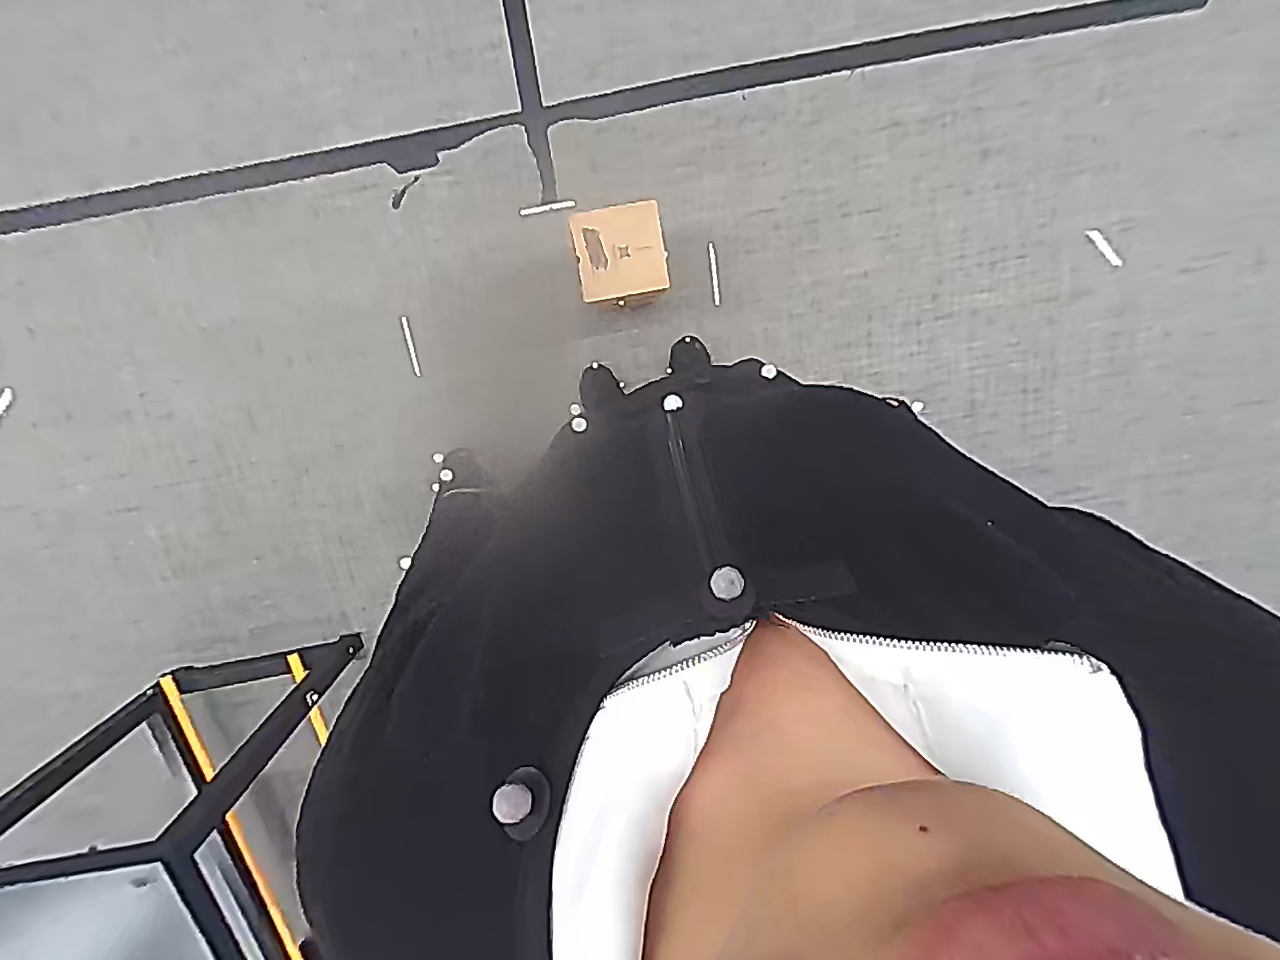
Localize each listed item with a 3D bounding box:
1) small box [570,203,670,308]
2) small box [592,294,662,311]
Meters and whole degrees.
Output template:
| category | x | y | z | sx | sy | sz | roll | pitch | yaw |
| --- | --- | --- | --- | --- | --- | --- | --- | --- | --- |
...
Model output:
| category | x | y | z | sx | sy | sz | roll | pitch | yaw |
| --- | --- | --- | --- | --- | --- | --- | --- | --- | --- |
| small box | -0.039 | -0.461 | 1.132 | 0.179 | 0.176 | 0.168 | -10 | 105 | 0 |
| small box | -0.041 | -0.505 | 1.292 | 0.168 | 0.176 | 0.179 | -8 | 106 | 0 |
